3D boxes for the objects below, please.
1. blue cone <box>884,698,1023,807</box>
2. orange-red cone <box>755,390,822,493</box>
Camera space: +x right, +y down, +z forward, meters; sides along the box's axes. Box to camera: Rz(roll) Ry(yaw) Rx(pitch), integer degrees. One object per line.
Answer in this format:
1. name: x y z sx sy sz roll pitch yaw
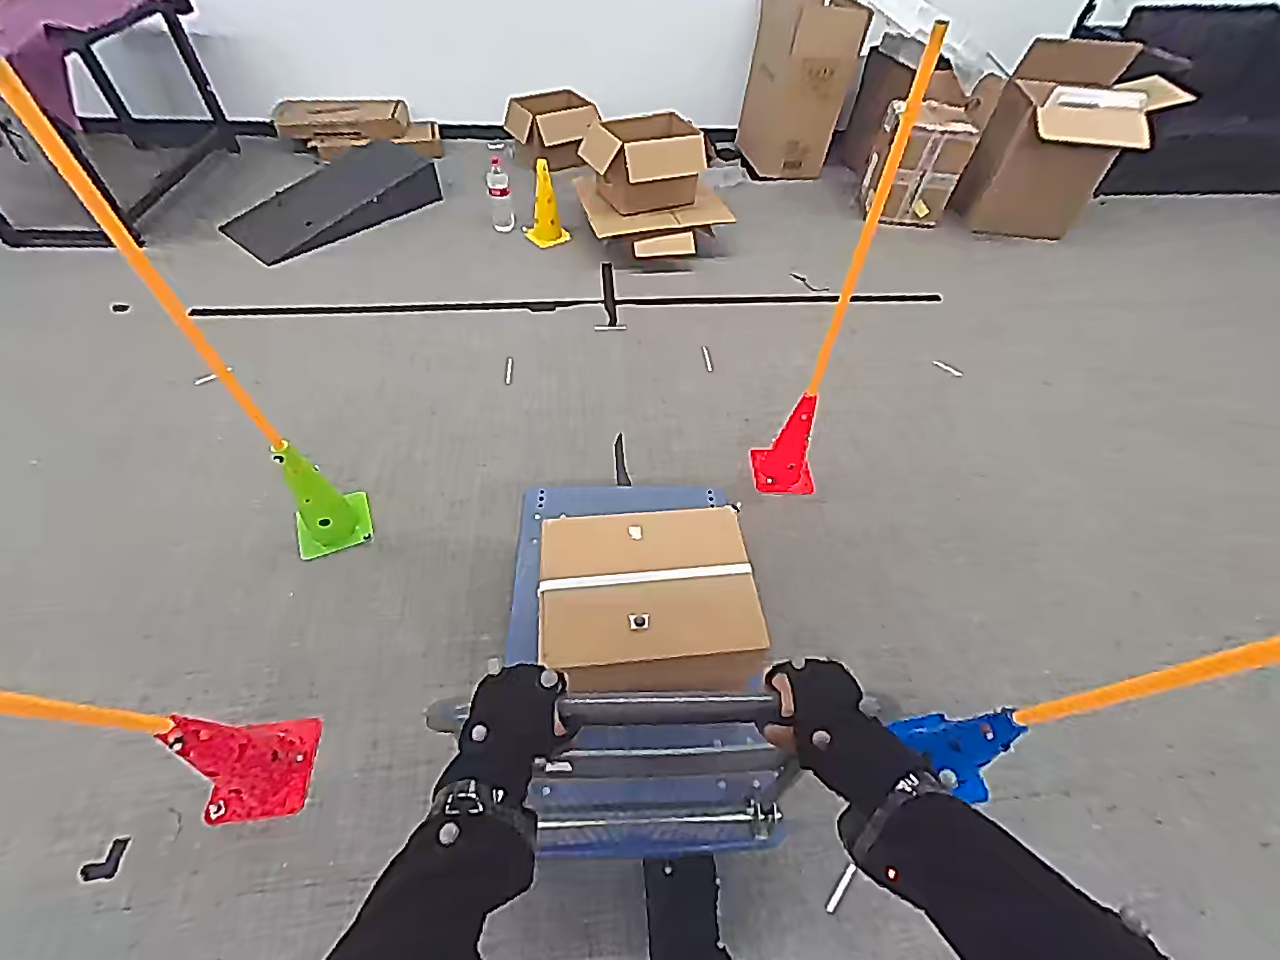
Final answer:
1. blue cone: 0.713 0.564 1.174 0.193 0.380 0.192 -5 51 -8
2. orange-red cone: 0.504 -0.142 1.710 0.199 0.360 0.198 3 52 -2
